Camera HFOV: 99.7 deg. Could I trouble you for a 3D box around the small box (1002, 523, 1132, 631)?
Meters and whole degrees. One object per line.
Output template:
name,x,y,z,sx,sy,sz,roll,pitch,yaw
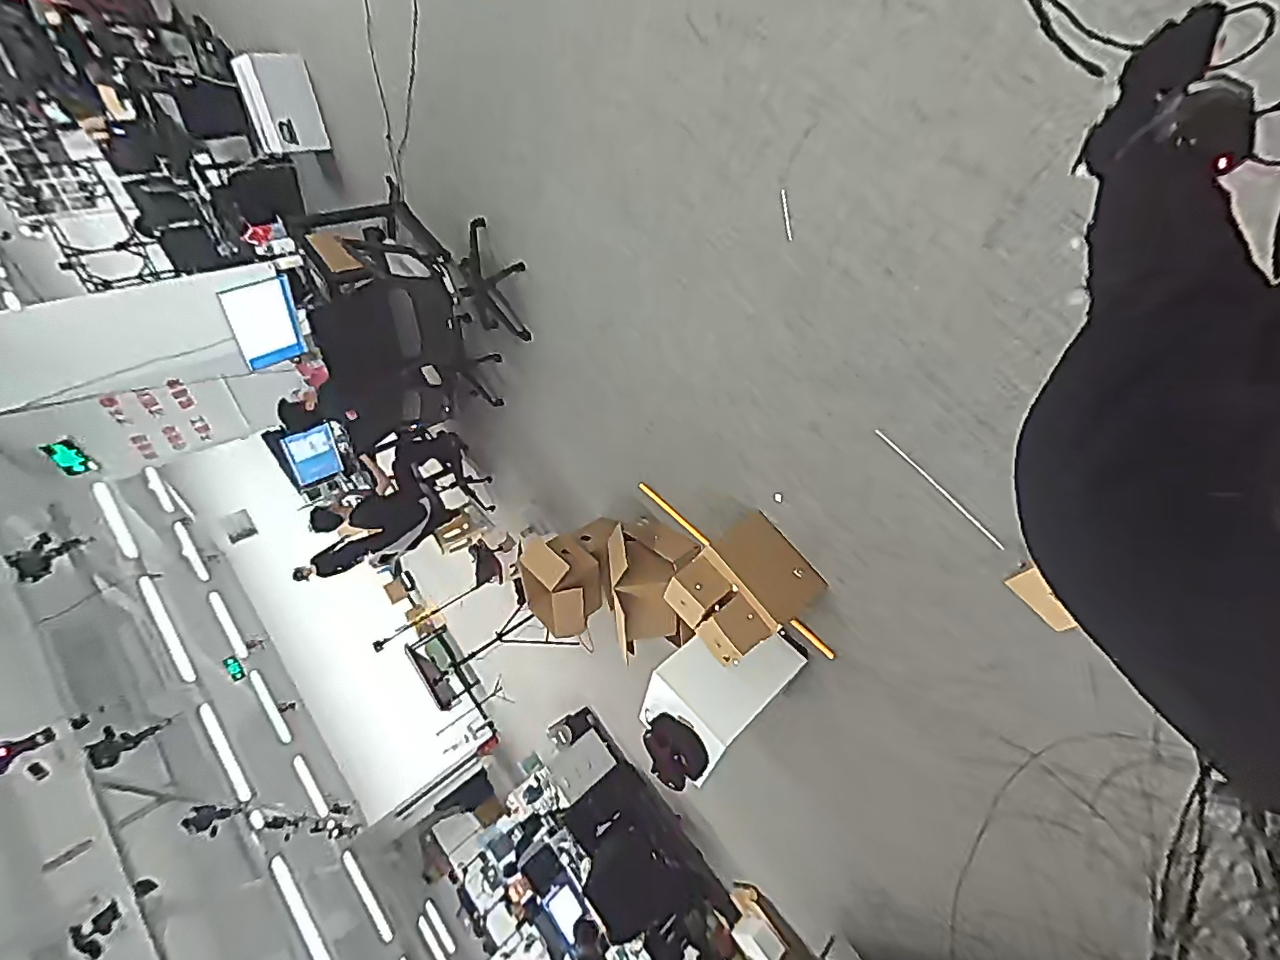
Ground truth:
small box,1.068,0.241,1.353,0.168,0.176,0.179,48,146,17
